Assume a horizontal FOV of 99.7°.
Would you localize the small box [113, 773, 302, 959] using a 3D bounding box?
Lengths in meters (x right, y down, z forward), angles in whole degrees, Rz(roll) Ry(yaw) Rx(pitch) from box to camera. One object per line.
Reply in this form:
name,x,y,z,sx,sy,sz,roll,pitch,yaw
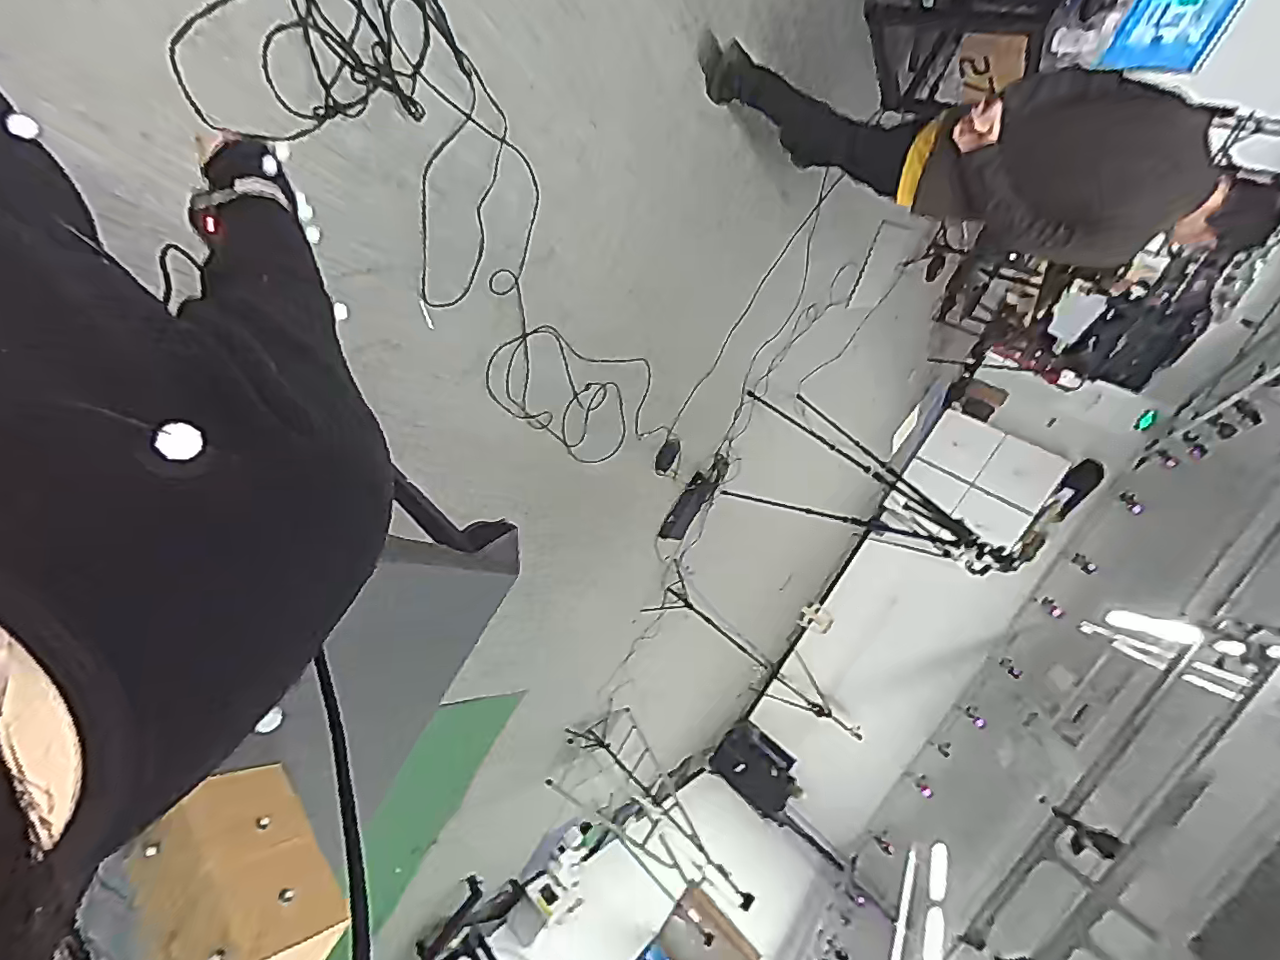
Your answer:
small box,-0.735,0.636,0.923,0.168,0.176,0.179,-56,151,1
